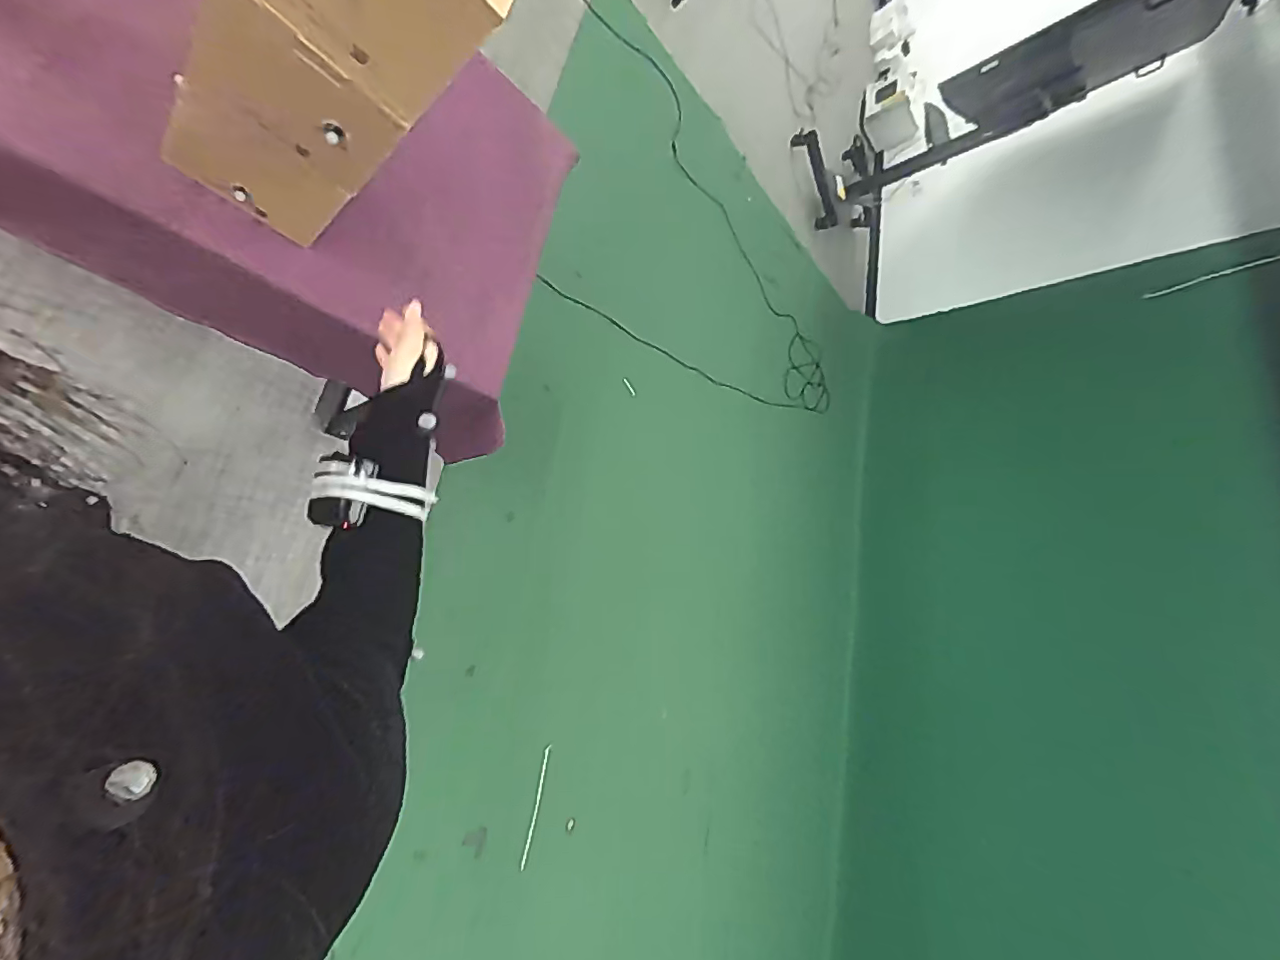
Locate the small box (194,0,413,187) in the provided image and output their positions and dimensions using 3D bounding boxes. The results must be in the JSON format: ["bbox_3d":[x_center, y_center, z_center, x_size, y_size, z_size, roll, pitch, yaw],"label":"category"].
[{"bbox_3d":[-0.325,-0.451,0.560,0.168,0.176,0.179,28,66,-43],"label":"small box"}]

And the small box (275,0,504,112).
[{"bbox_3d":[-0.207,-0.464,0.449,0.168,0.176,0.179,28,66,-43],"label":"small box"}]
